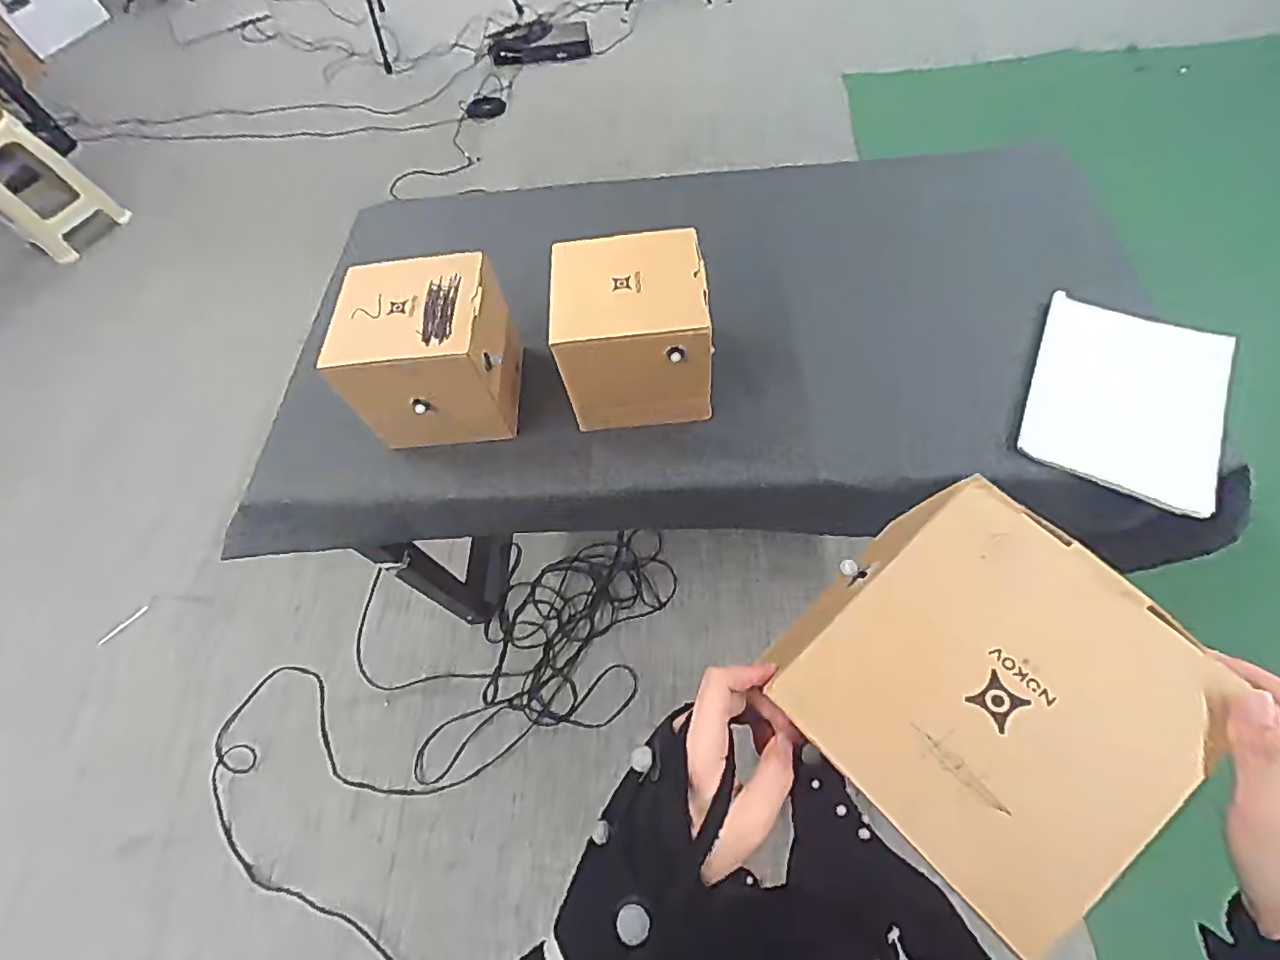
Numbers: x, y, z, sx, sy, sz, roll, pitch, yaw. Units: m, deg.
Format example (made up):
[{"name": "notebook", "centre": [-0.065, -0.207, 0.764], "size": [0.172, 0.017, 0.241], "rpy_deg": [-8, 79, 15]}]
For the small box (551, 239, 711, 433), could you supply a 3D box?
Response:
[{"name": "small box", "centre": [-0.005, -0.173, 0.685], "size": [0.179, 0.176, 0.168], "rpy_deg": [-5, 60, 3]}]
